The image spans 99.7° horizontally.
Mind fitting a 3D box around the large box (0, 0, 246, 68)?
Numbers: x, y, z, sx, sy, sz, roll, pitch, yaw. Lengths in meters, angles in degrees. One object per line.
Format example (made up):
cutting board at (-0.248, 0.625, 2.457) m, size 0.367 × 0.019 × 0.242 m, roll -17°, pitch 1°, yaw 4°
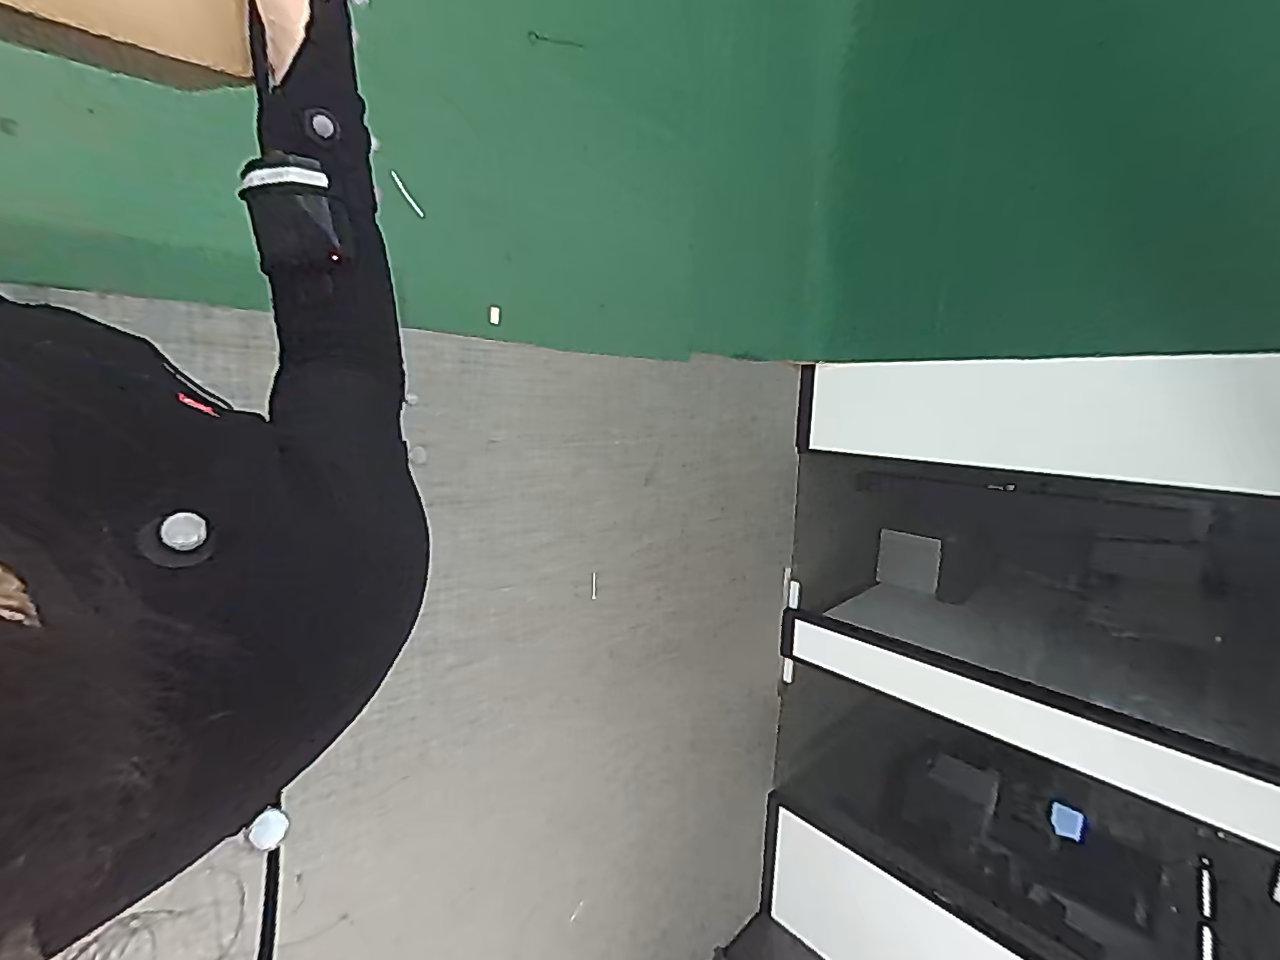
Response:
large box at (-0.482, -0.454, 0.271) m, size 0.408 × 0.320 × 0.320 m, roll -11°, pitch 123°, yaw -42°
